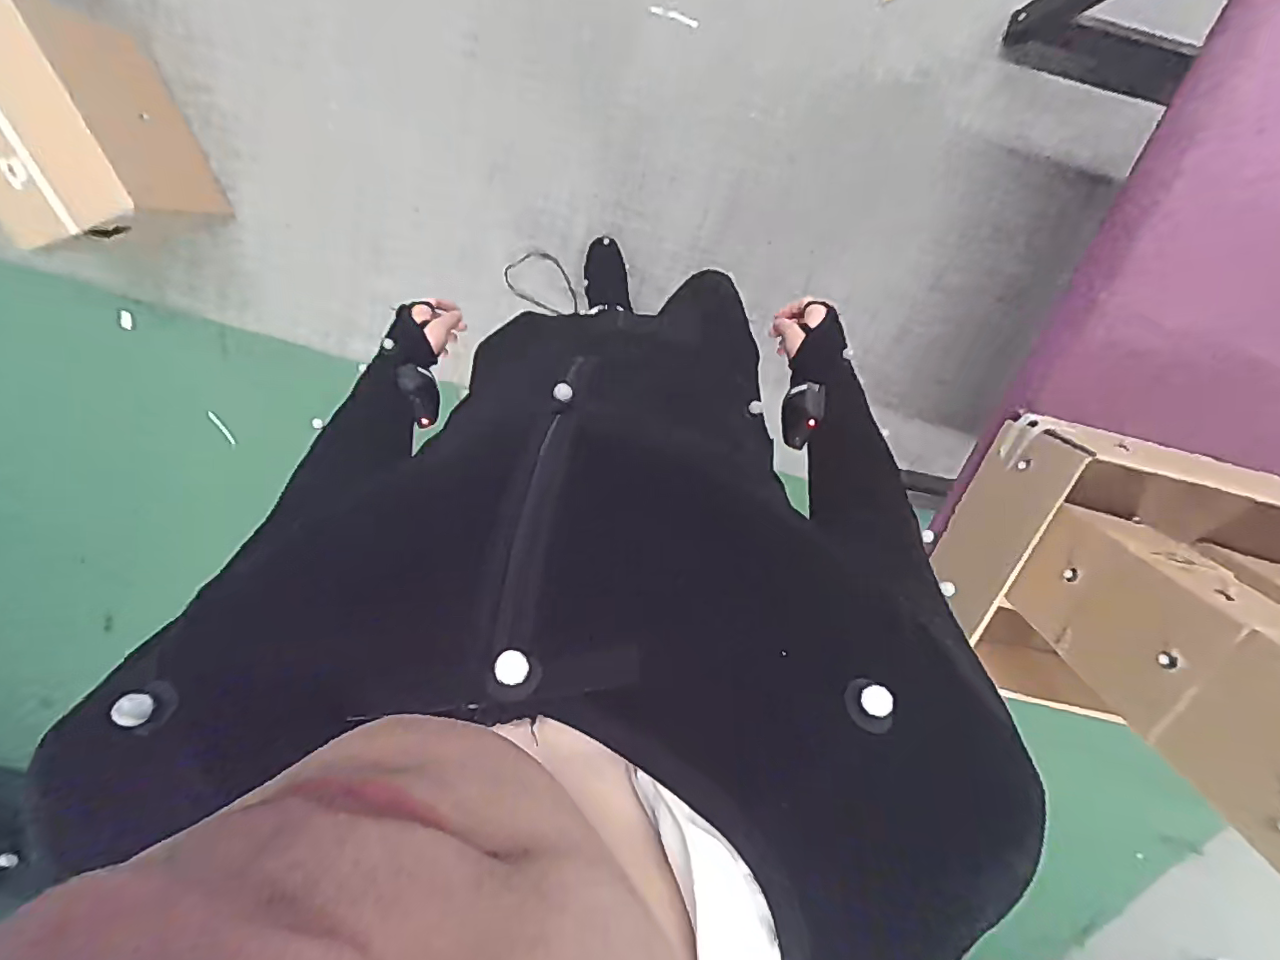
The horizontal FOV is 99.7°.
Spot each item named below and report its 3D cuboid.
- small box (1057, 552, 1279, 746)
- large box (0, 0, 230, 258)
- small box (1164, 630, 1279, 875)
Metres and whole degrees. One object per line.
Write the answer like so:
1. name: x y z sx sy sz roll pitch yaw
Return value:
1. small box: 0.683 0.215 0.675 0.168 0.176 0.179 16 112 -5
2. large box: -1.282 -0.768 1.238 0.320 0.320 0.408 -15 114 8
3. small box: 0.683 0.280 0.524 0.168 0.176 0.179 15 112 -5
